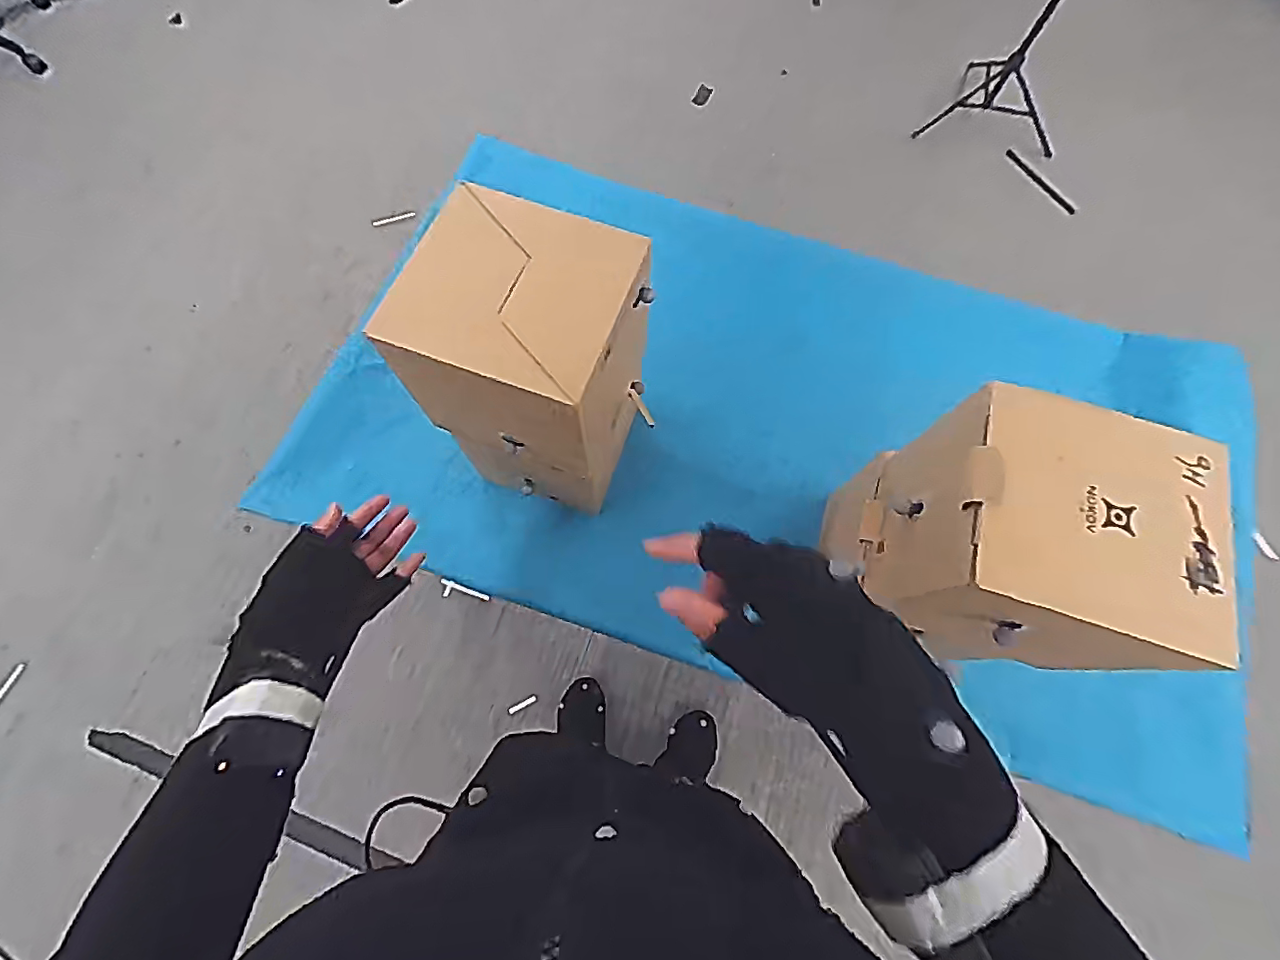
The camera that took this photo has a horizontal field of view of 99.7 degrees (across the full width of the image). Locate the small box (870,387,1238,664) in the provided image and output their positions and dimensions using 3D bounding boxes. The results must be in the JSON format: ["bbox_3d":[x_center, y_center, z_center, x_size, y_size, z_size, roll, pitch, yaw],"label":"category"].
[{"bbox_3d":[0.315,0.051,0.450,0.179,0.176,0.168,15,71,4],"label":"small box"}]

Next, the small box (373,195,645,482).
[{"bbox_3d":[-0.102,-0.121,0.499,0.179,0.176,0.168,20,71,5],"label":"small box"}]

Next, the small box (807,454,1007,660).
[{"bbox_3d":[0.307,0.097,0.606,0.179,0.176,0.168,18,71,5],"label":"small box"}]

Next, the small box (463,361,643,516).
[{"bbox_3d":[-0.104,-0.078,0.661,0.168,0.176,0.179,21,73,7],"label":"small box"}]
